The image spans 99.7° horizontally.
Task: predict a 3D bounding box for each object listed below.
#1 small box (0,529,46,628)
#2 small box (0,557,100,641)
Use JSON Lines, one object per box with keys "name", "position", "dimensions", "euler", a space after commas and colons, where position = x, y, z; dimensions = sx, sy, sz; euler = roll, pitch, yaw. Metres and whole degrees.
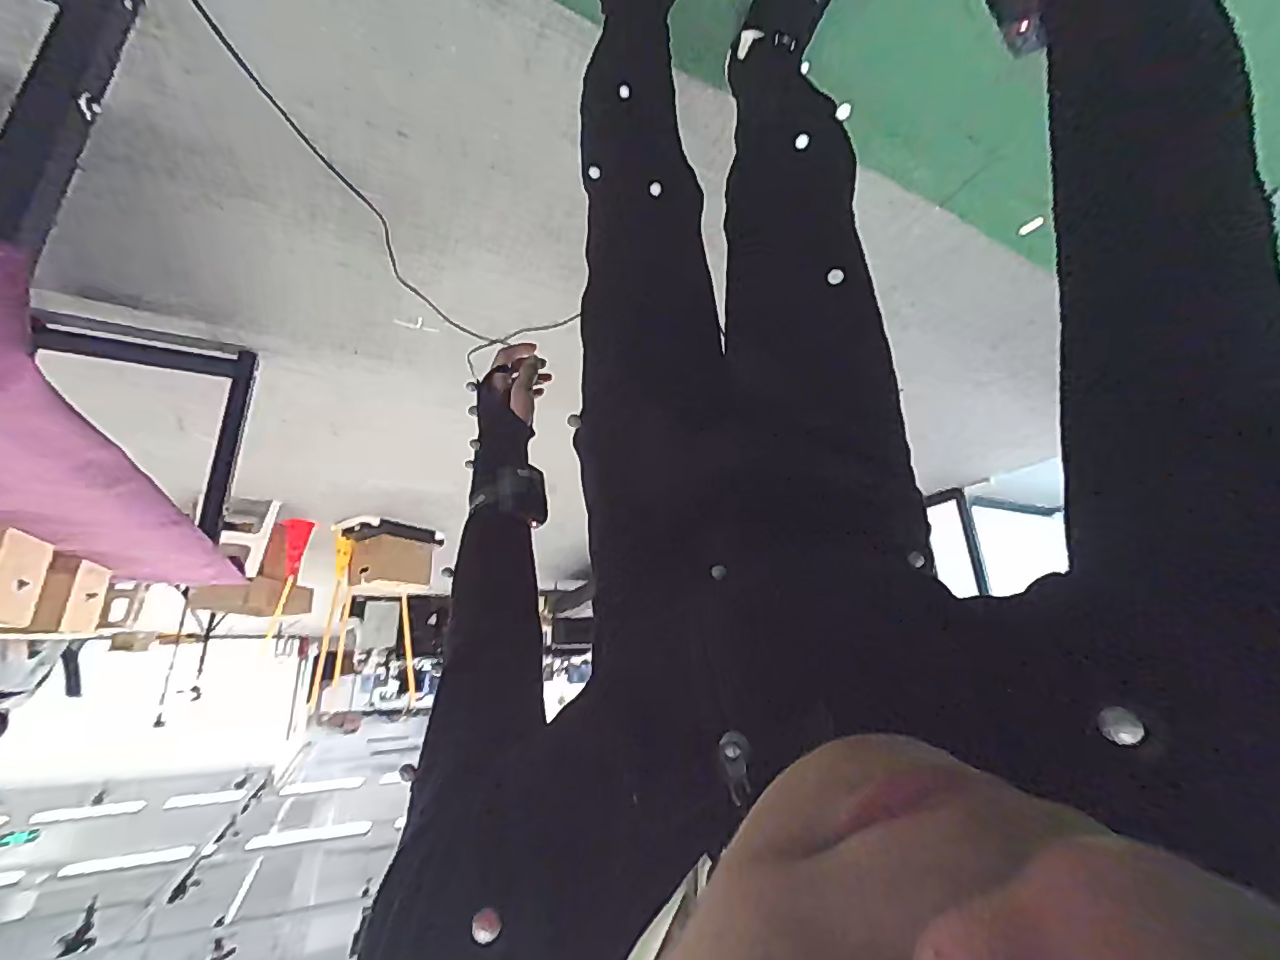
{"name": "small box", "position": [-1.243, 0.174, 0.974], "dimensions": [0.168, 0.176, 0.179], "euler": [7, 159, -24]}
{"name": "small box", "position": [-1.371, 0.268, 1.219], "dimensions": [0.179, 0.176, 0.168], "euler": [6, 158, -24]}
